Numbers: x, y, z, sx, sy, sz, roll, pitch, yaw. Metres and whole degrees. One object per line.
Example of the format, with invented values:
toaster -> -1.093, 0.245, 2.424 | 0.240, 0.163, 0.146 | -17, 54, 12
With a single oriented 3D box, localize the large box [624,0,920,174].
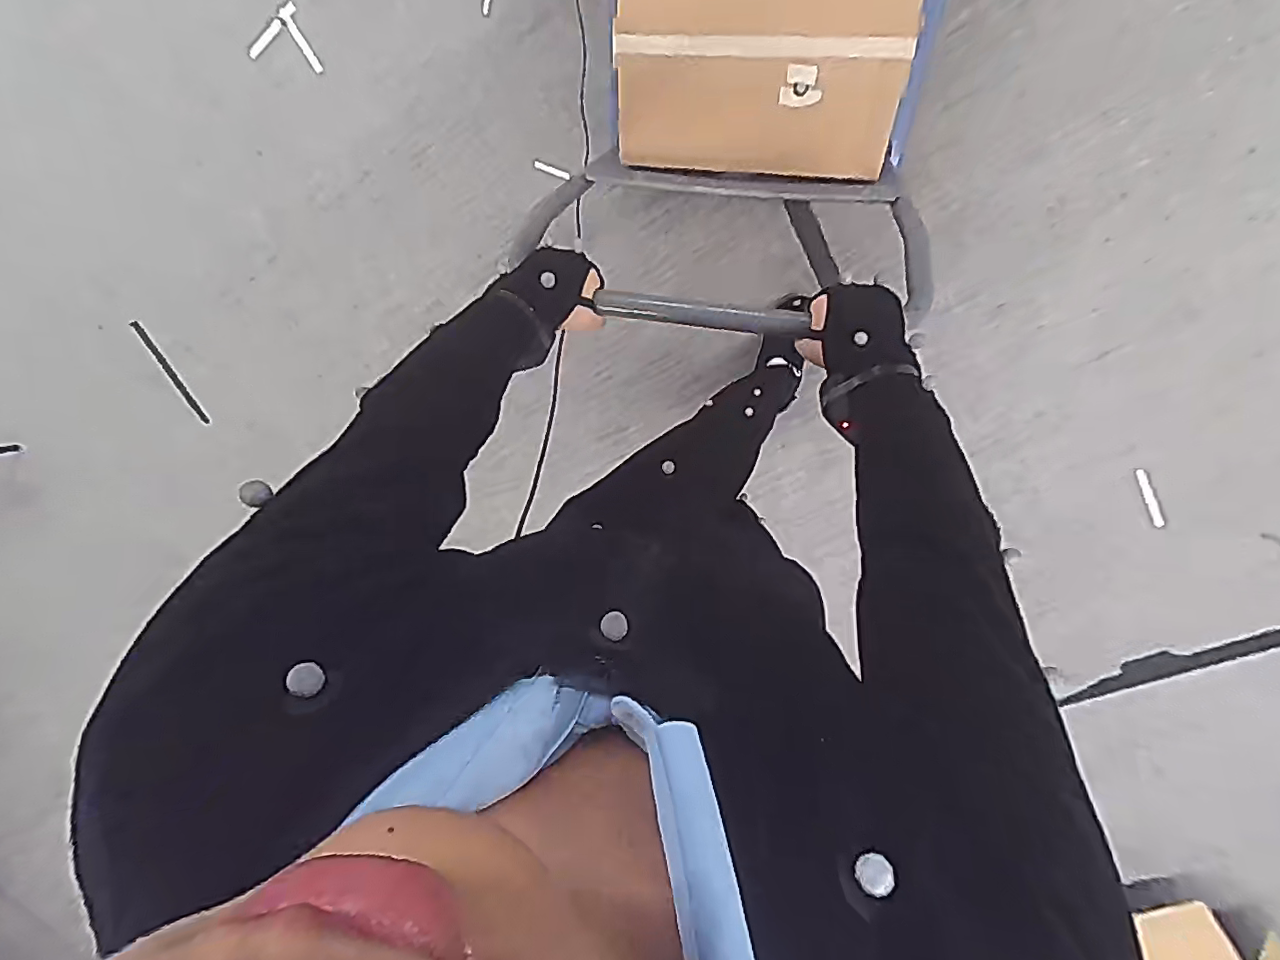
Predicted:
large box -> 0.201, -0.701, 0.876 | 0.408, 0.320, 0.320 | 9, 130, 9
